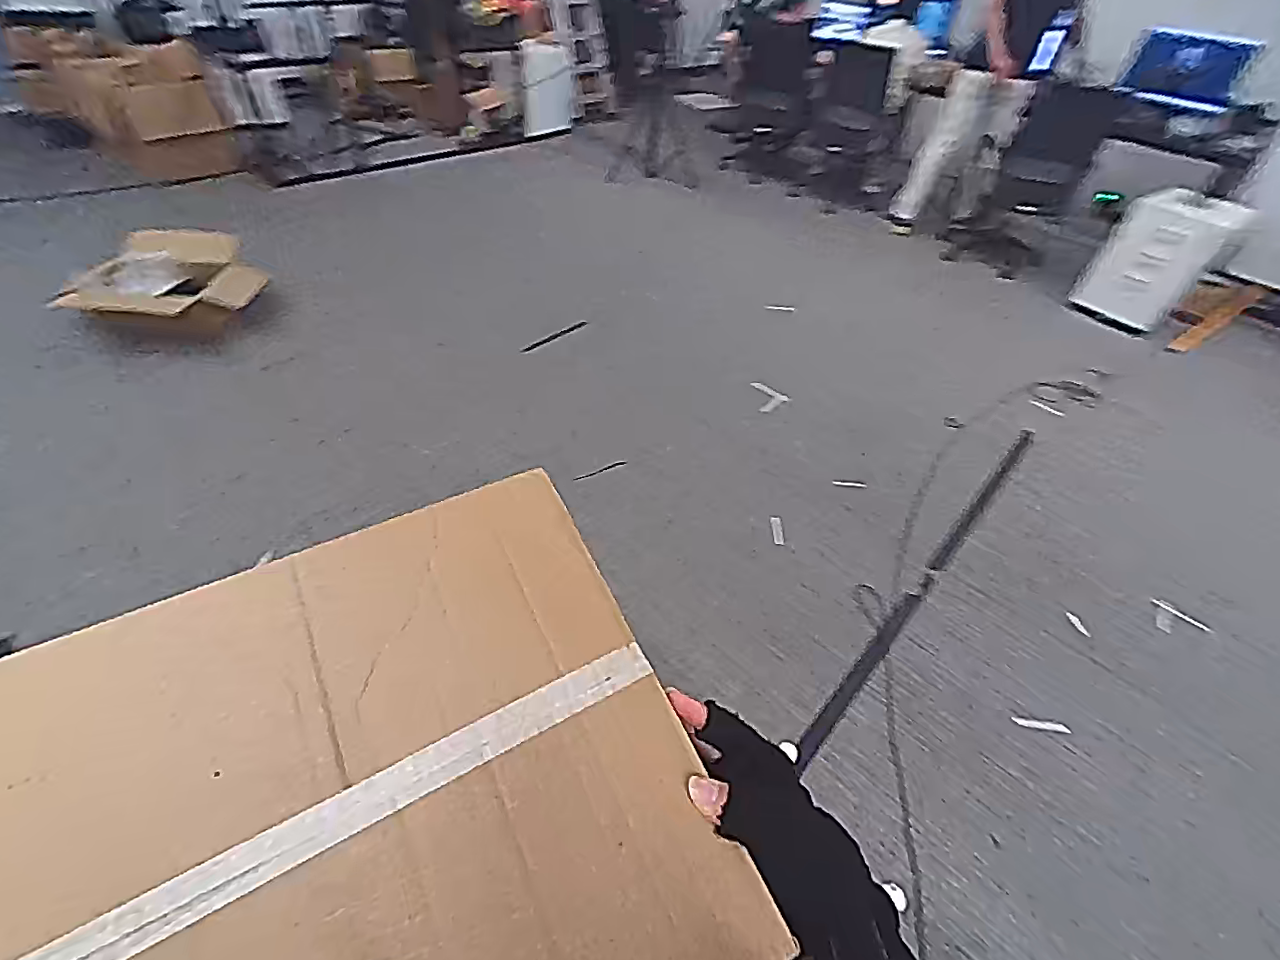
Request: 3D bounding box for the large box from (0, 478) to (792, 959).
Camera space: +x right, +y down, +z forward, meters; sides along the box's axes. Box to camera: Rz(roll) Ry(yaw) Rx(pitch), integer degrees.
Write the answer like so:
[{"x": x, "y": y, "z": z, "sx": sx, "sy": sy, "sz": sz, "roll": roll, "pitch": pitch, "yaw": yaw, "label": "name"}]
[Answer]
[{"x": -0.179, "y": 0.262, "z": 0.400, "sx": 0.408, "sy": 0.320, "sz": 0.320, "roll": -20, "pitch": 63, "yaw": -20, "label": "large box"}]
